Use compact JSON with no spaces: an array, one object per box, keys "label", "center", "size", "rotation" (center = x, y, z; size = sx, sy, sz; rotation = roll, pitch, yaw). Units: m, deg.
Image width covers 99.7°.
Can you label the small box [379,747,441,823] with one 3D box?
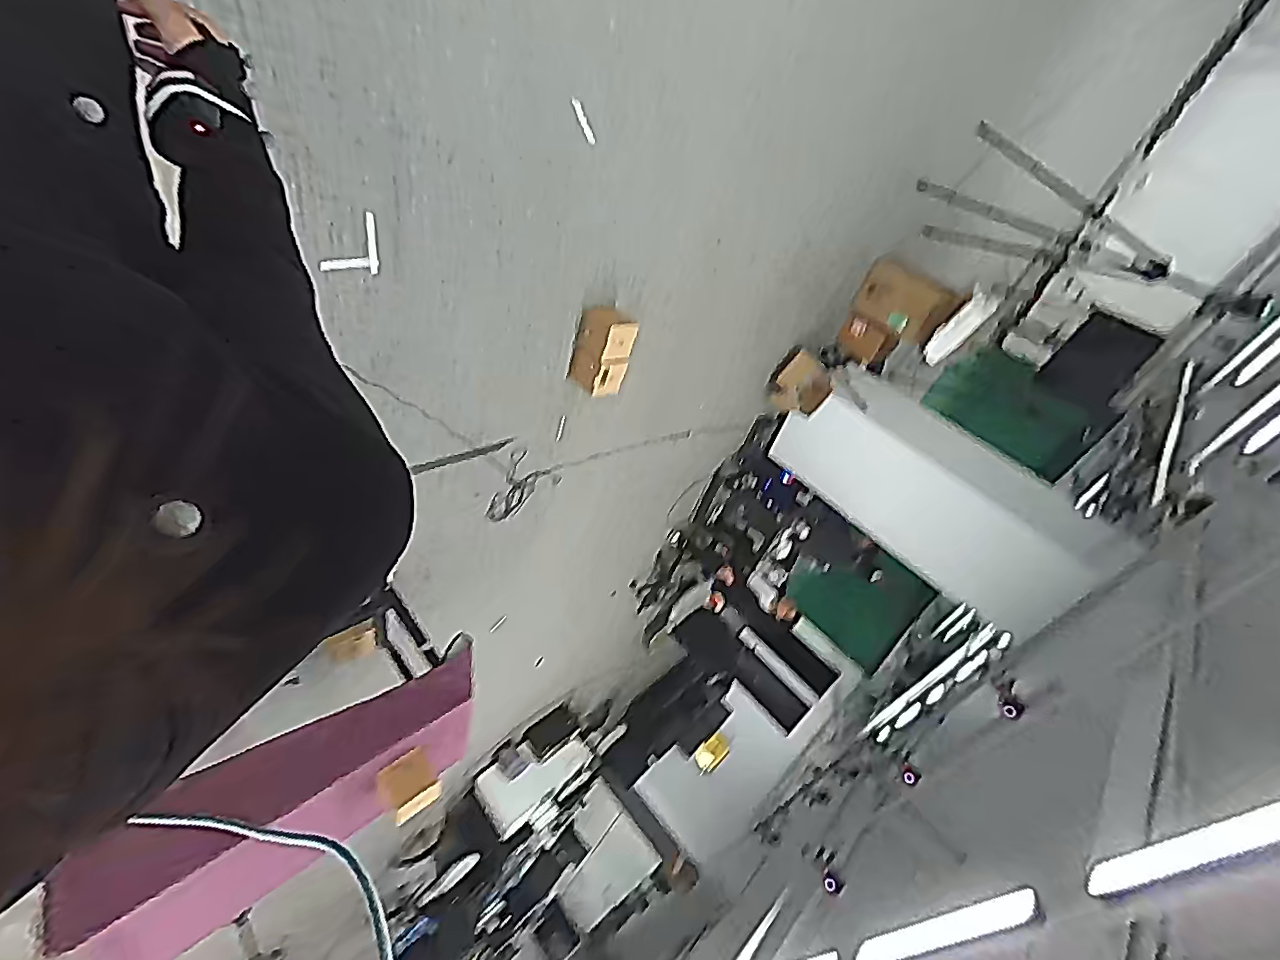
[{"label":"small box","center":[-0.896,1.182,2.104],"size":[0.168,0.176,0.179],"rotation":[-24,146,-40]}]
